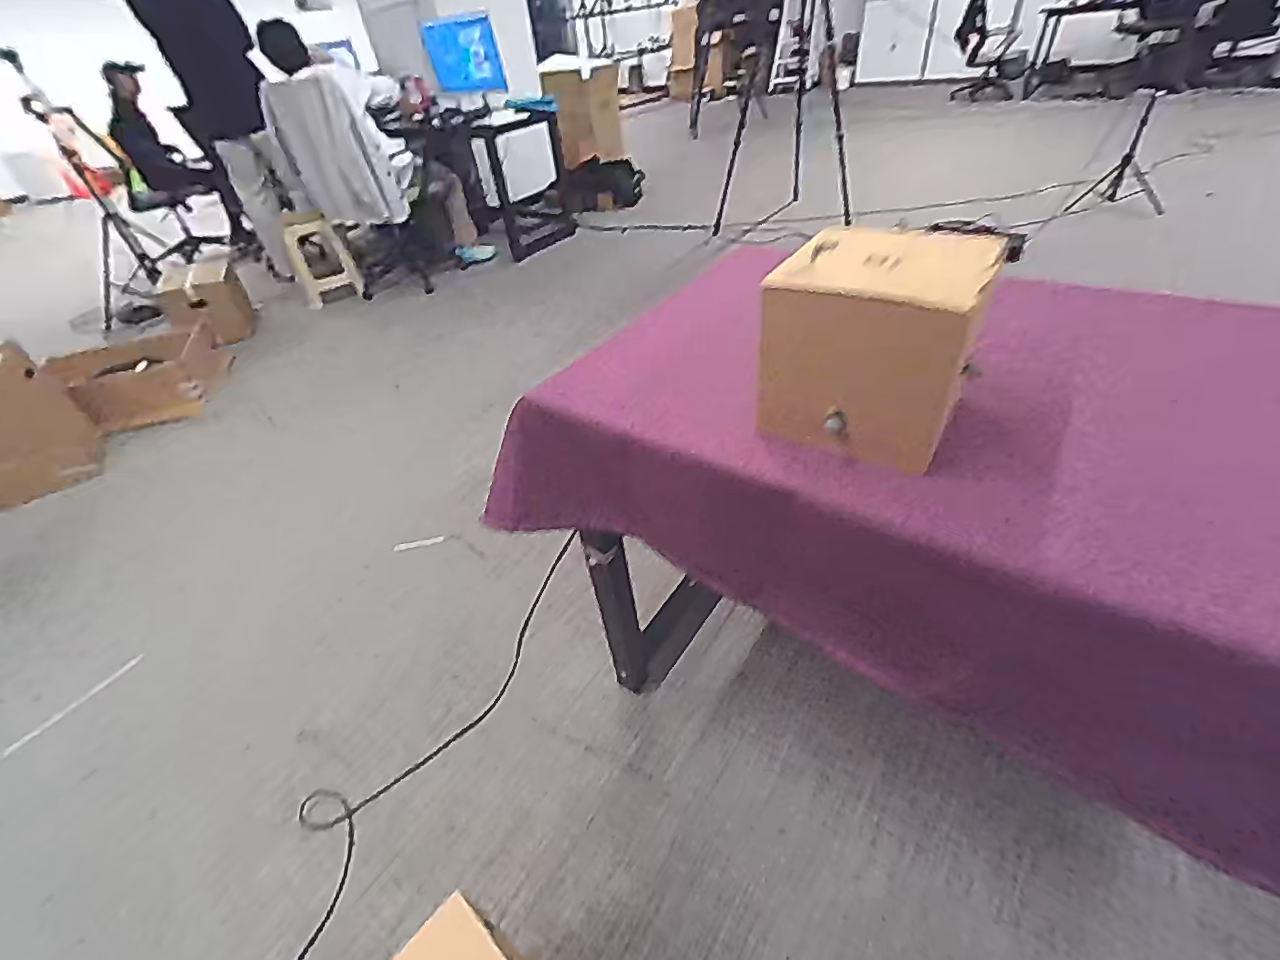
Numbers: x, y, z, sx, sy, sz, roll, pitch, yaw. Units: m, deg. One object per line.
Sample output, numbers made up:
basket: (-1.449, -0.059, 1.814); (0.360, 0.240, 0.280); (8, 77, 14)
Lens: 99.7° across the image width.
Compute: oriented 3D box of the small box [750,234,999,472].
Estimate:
small box: (0.228, -0.131, 0.554); (0.179, 0.176, 0.168); (21, 47, 28)

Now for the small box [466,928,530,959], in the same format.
small box: (-0.189, 0.755, 0.710); (0.168, 0.176, 0.179); (25, 49, 31)
